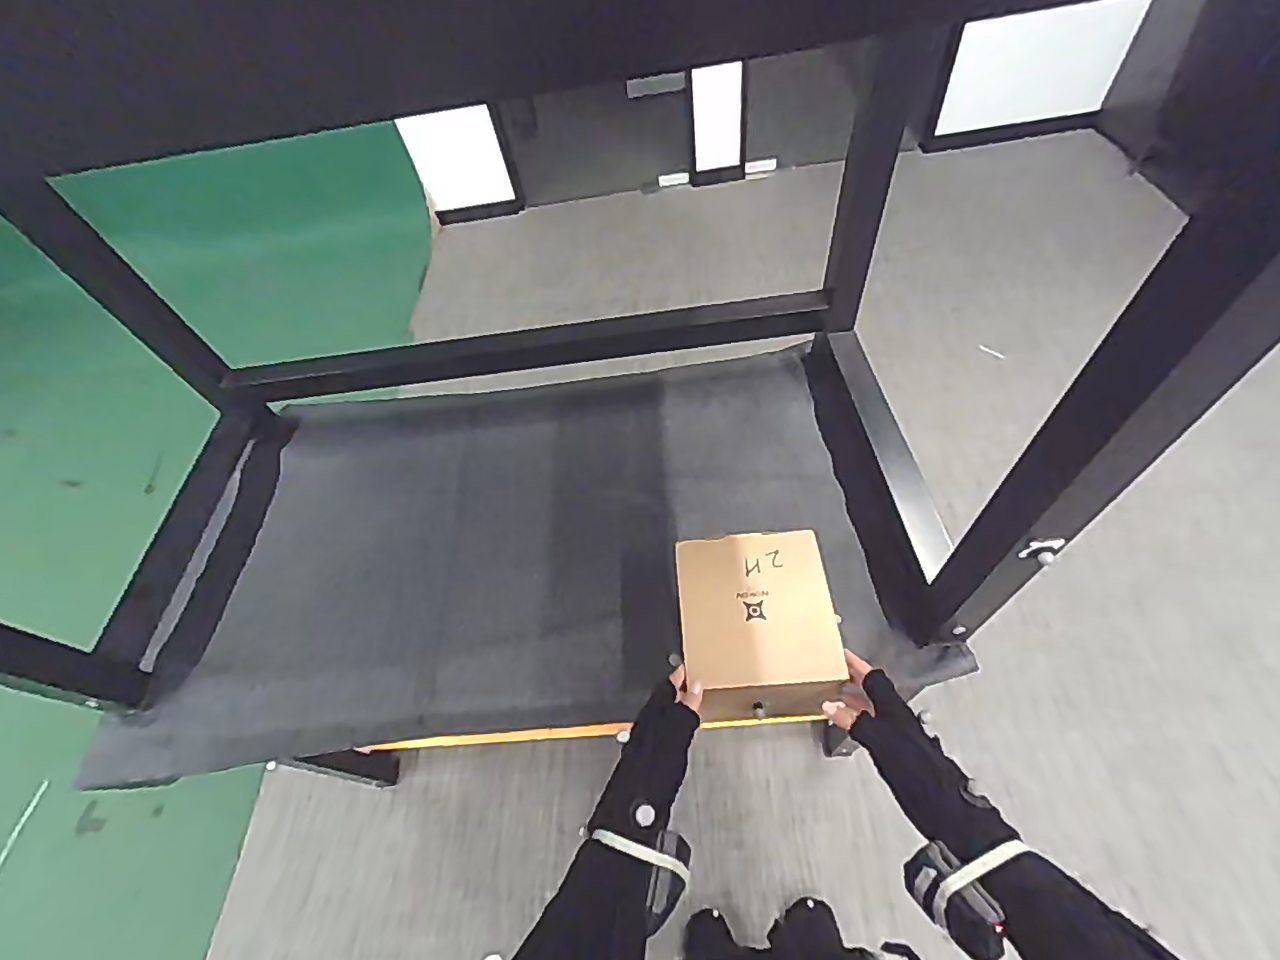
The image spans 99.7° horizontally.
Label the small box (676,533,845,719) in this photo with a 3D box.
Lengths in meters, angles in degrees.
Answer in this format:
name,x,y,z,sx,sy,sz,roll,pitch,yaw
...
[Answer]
name,x,y,z,sx,sy,sz,roll,pitch,yaw
small box,0.136,0.186,0.663,0.168,0.176,0.179,-6,54,4
